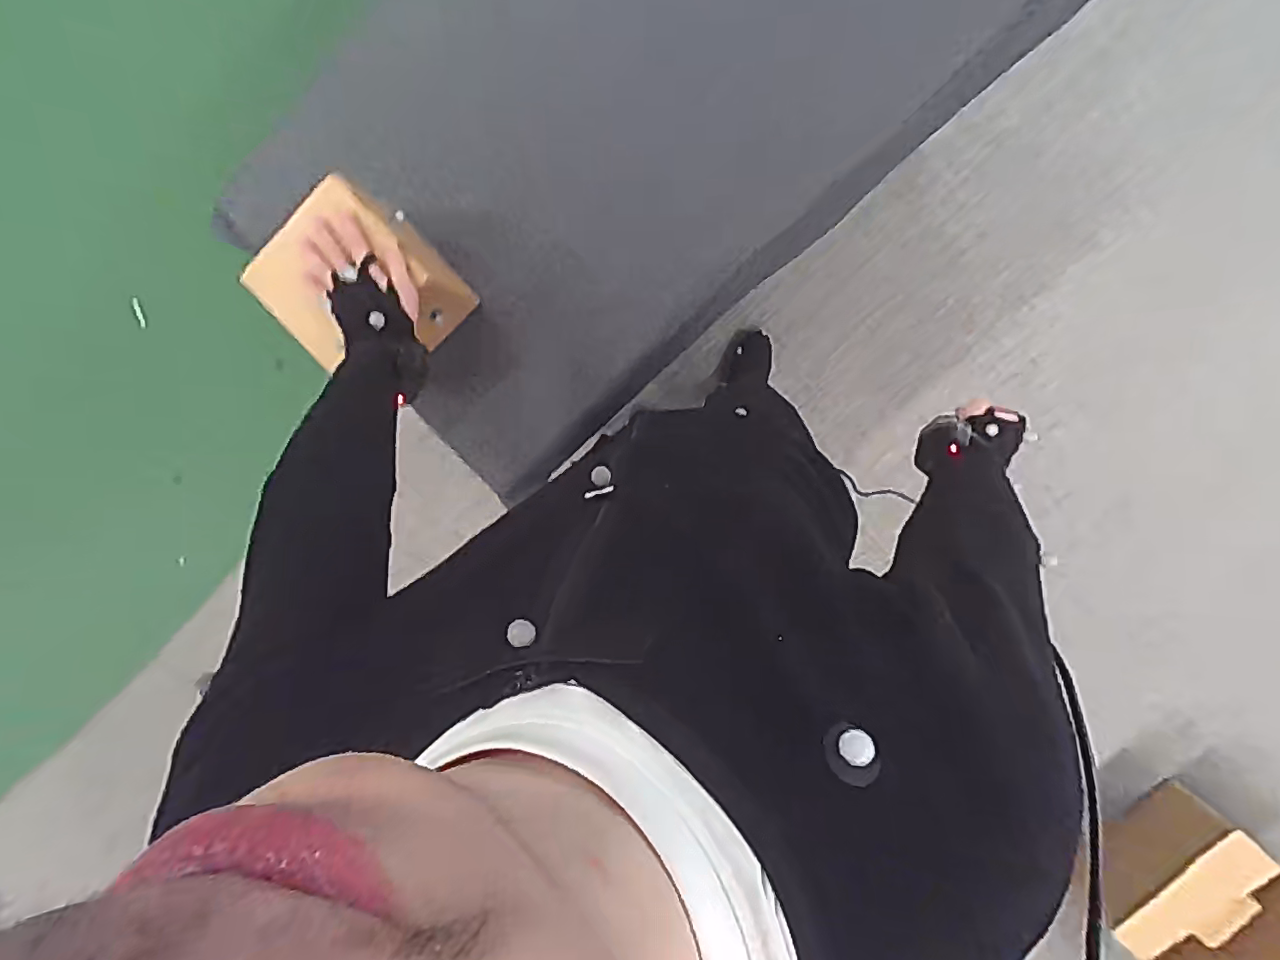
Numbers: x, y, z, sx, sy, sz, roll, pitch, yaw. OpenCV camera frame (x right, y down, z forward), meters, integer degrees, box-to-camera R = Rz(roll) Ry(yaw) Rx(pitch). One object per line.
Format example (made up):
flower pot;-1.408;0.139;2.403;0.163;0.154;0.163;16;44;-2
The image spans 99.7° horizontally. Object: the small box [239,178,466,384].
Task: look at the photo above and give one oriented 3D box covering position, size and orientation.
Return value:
small box;-0.357;-0.246;0.716;0.179;0.176;0.168;-40;92;8
